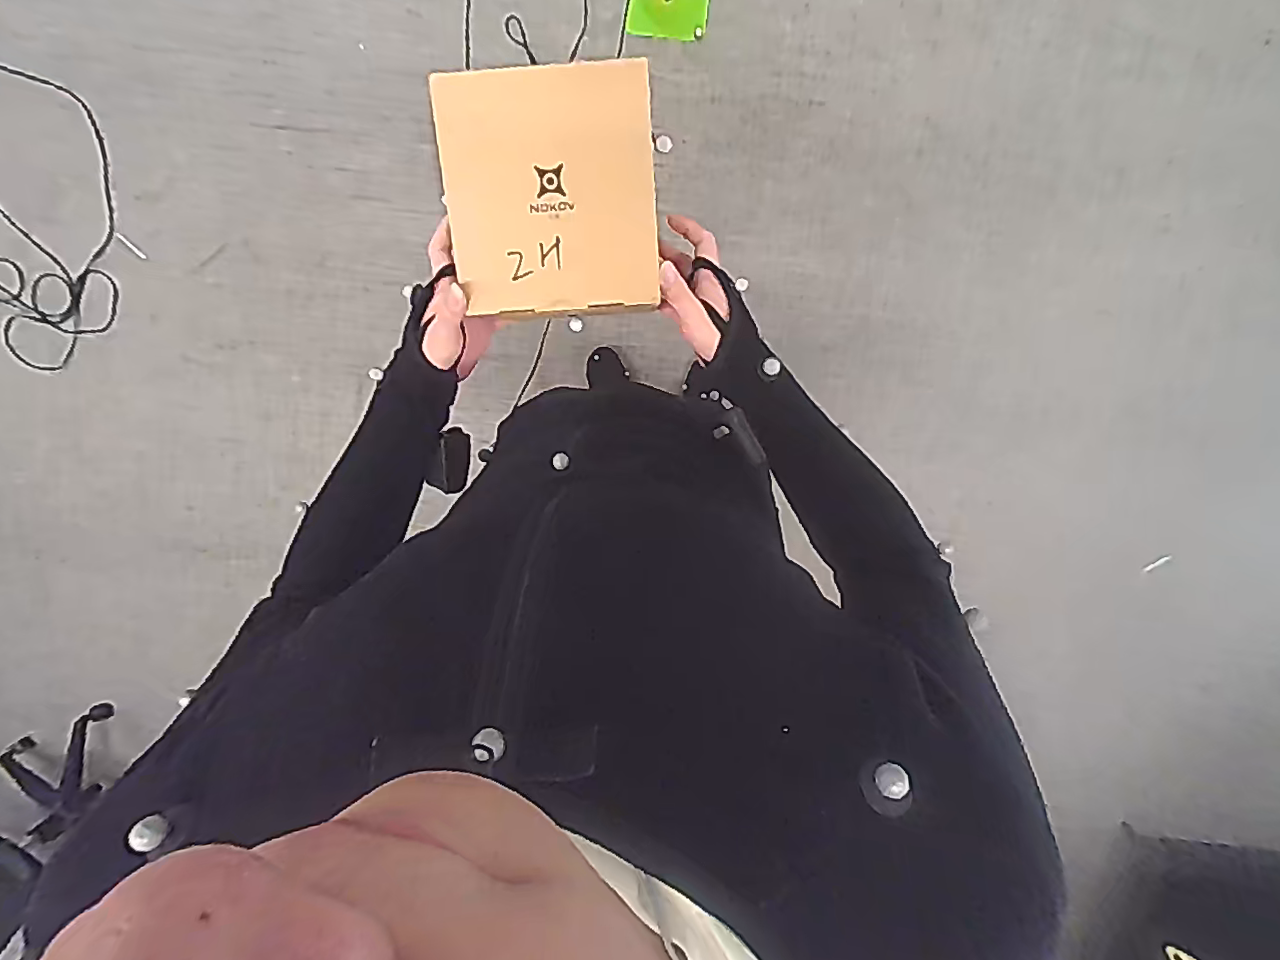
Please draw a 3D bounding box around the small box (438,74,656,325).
[{"bbox_3d":[-0.072,-0.243,0.511,0.168,0.176,0.179,-3,105,1],"label":"small box"}]

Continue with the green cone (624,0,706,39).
[{"bbox_3d":[0.058,-1.159,1.155,0.202,0.368,0.200,6,105,1],"label":"green cone"}]
